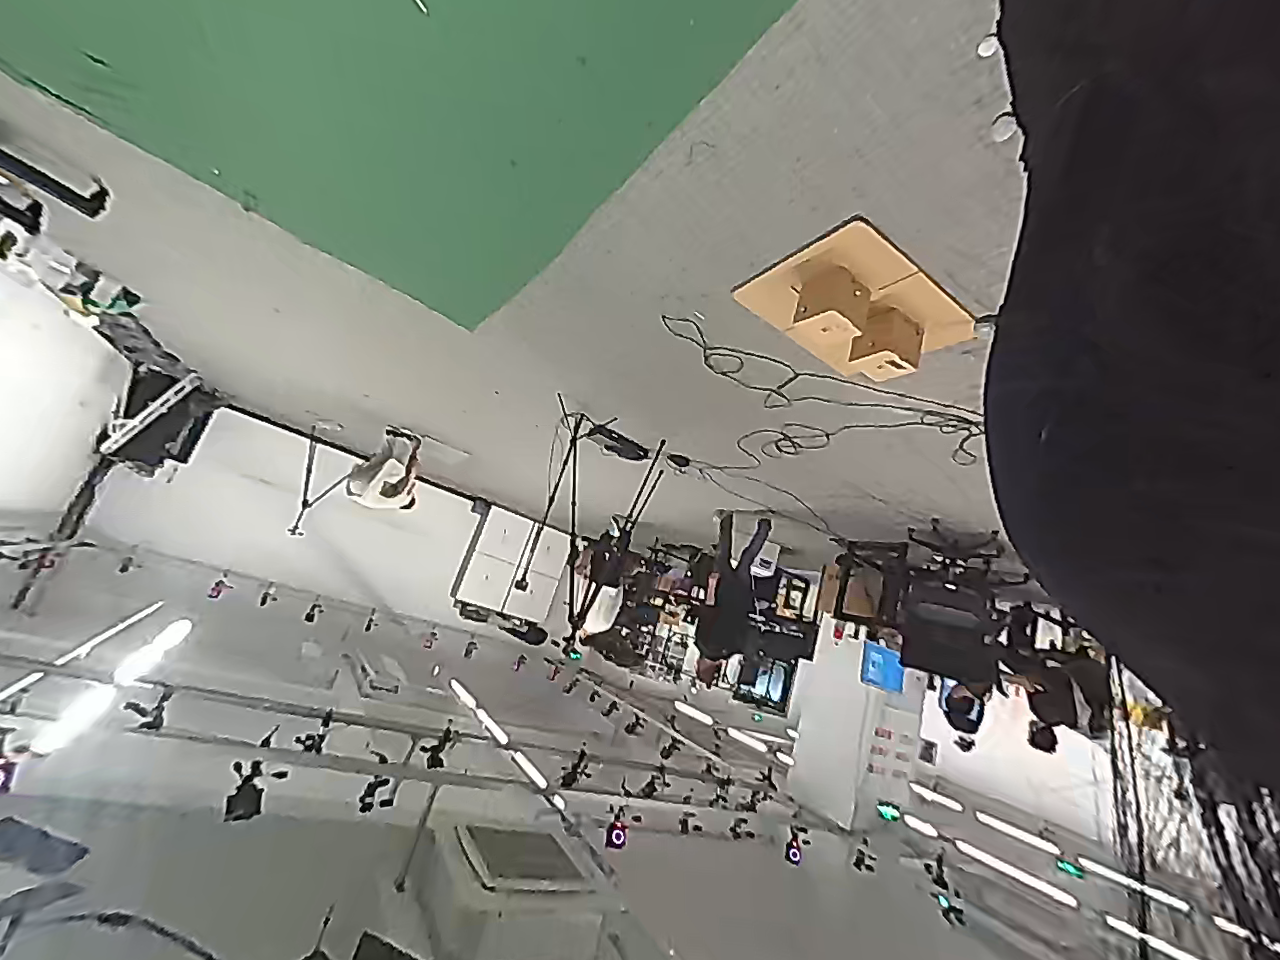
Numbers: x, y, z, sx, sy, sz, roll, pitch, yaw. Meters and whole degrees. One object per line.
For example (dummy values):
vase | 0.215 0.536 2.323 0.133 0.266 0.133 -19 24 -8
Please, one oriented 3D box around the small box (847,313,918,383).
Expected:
small box | 0.895 -0.485 1.982 0.168 0.176 0.179 24 165 -24

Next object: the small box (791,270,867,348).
small box | 0.659 -0.591 1.875 0.168 0.176 0.179 25 163 -30
